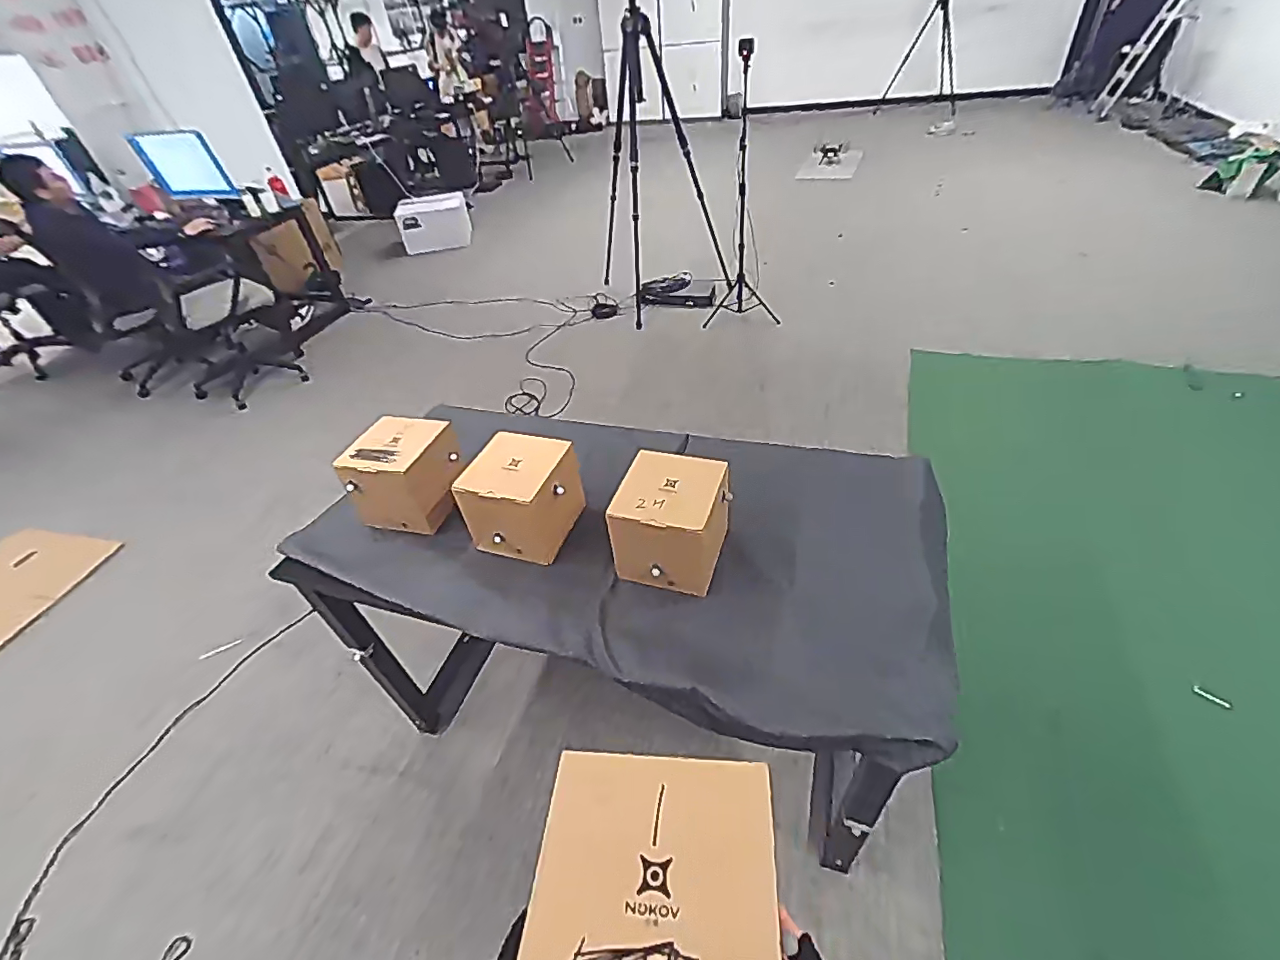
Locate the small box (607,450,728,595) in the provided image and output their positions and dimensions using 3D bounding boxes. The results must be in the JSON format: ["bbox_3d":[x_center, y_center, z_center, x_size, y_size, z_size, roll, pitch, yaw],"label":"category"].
[{"bbox_3d":[0.055,0.073,0.962,0.168,0.176,0.179,10,44,18],"label":"small box"}]

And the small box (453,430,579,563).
[{"bbox_3d":[-0.227,0.030,1.050,0.168,0.176,0.179,10,45,17],"label":"small box"}]

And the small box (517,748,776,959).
[{"bbox_3d":[0.017,0.334,0.415,0.168,0.176,0.179,0,41,9],"label":"small box"}]
